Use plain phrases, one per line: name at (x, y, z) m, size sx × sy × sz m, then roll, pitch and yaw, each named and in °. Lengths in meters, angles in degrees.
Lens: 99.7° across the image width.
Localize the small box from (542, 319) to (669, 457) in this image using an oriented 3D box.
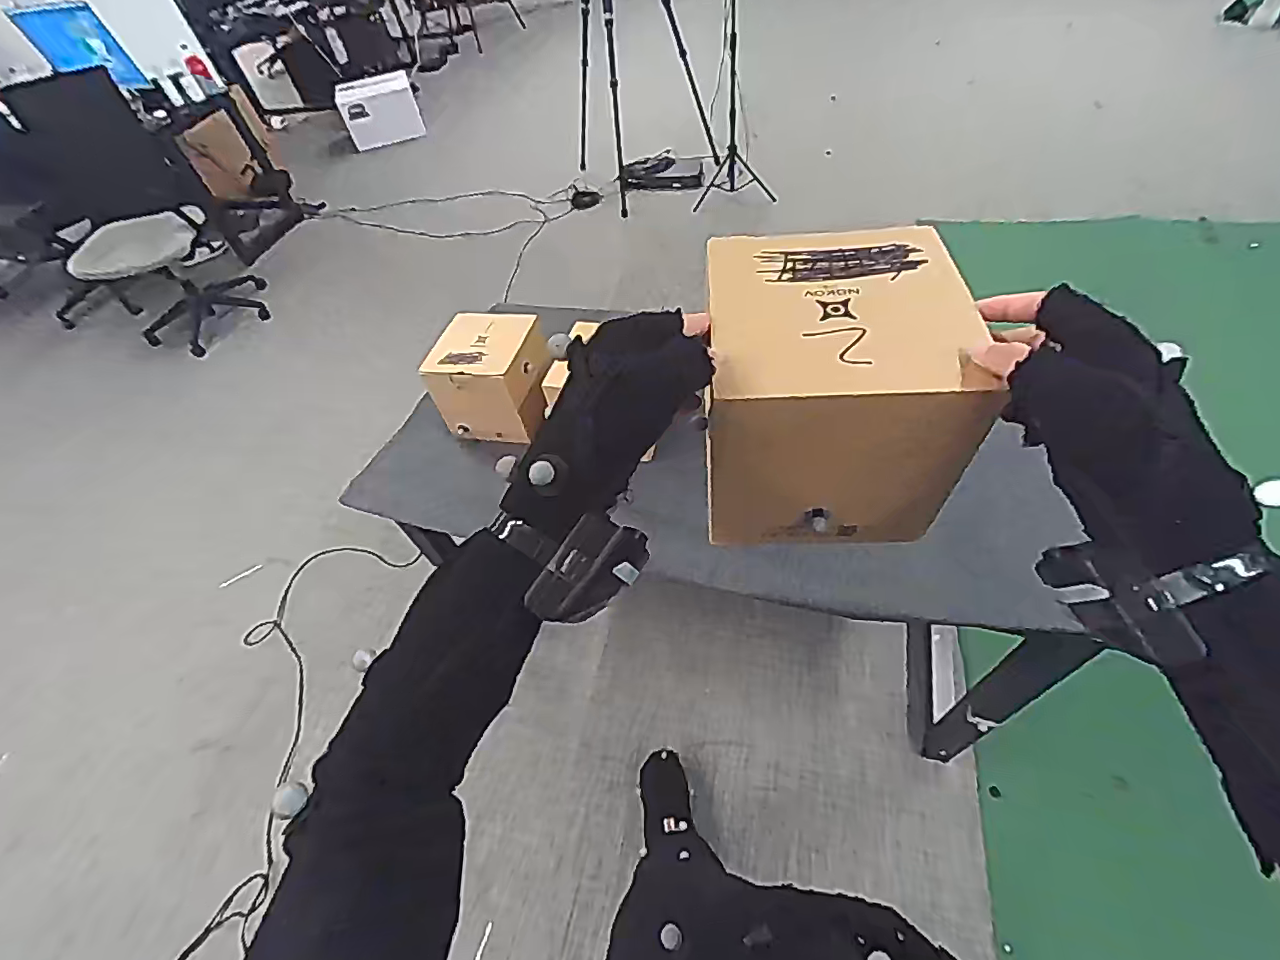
small box at (-0.048, -0.160, 0.954) m, size 0.168 × 0.176 × 0.179 m, roll 8°, pitch 53°, yaw 15°

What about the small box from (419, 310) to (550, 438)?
small box at (-0.273, -0.197, 1.017) m, size 0.168 × 0.176 × 0.179 m, roll 5°, pitch 52°, yaw 13°
